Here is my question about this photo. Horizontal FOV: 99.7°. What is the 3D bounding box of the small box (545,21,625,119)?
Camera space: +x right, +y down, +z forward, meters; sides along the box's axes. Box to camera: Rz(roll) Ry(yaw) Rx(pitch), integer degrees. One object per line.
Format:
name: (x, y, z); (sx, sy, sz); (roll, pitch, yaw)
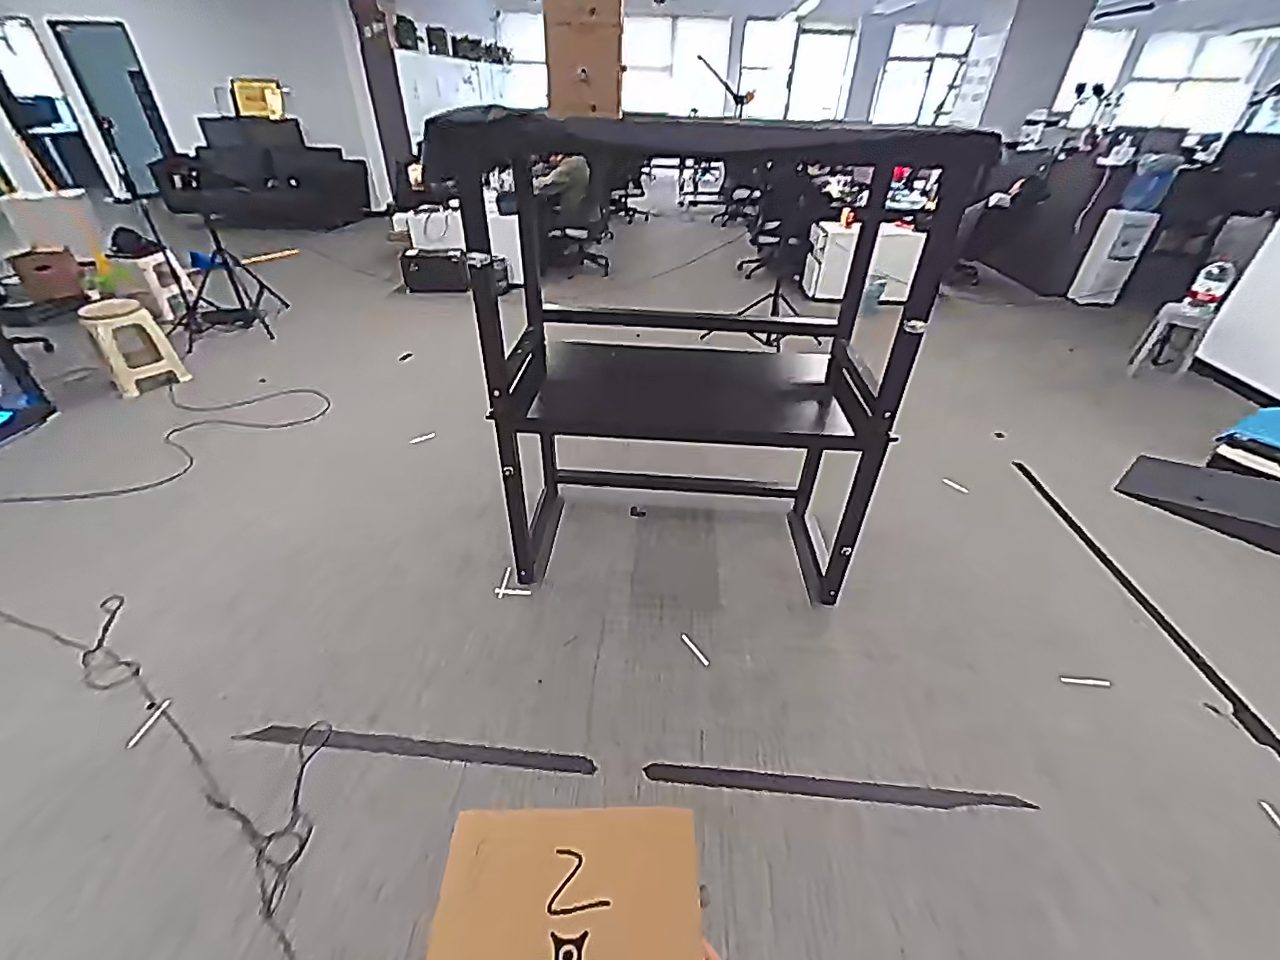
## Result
small box: (-0.119, -0.931, 1.237); (0.168, 0.176, 0.179); (2, 35, -2)

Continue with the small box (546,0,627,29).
small box: (-0.113, -1.068, 1.146); (0.168, 0.176, 0.179); (1, 34, 0)
